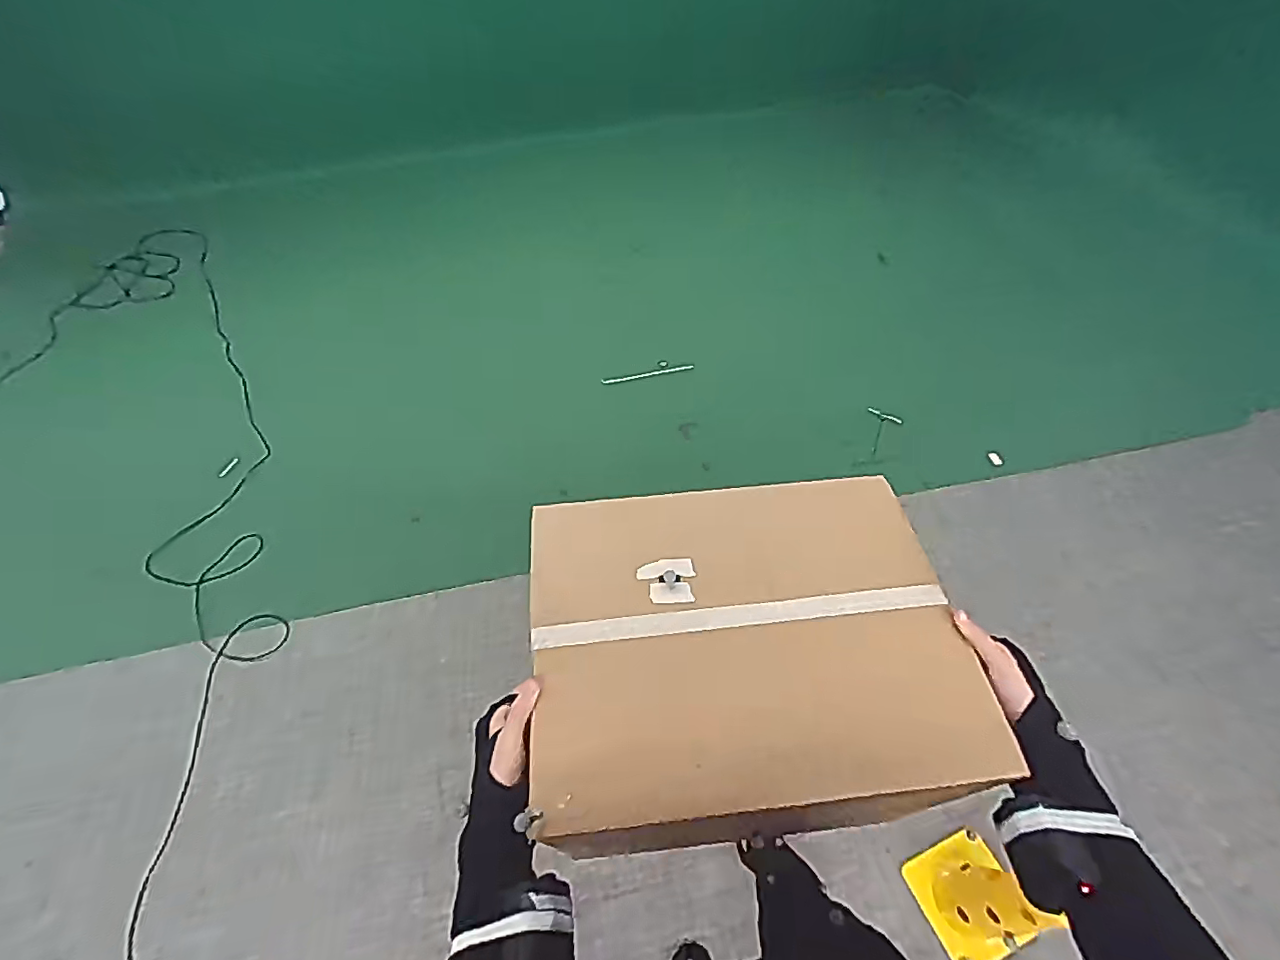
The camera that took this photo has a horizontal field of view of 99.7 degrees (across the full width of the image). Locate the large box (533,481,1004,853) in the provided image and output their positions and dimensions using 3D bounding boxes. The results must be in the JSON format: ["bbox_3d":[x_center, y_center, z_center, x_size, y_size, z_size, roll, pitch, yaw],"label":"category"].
[{"bbox_3d":[0.100,0.232,0.650,0.408,0.320,0.320,-6,52,-3],"label":"large box"}]
